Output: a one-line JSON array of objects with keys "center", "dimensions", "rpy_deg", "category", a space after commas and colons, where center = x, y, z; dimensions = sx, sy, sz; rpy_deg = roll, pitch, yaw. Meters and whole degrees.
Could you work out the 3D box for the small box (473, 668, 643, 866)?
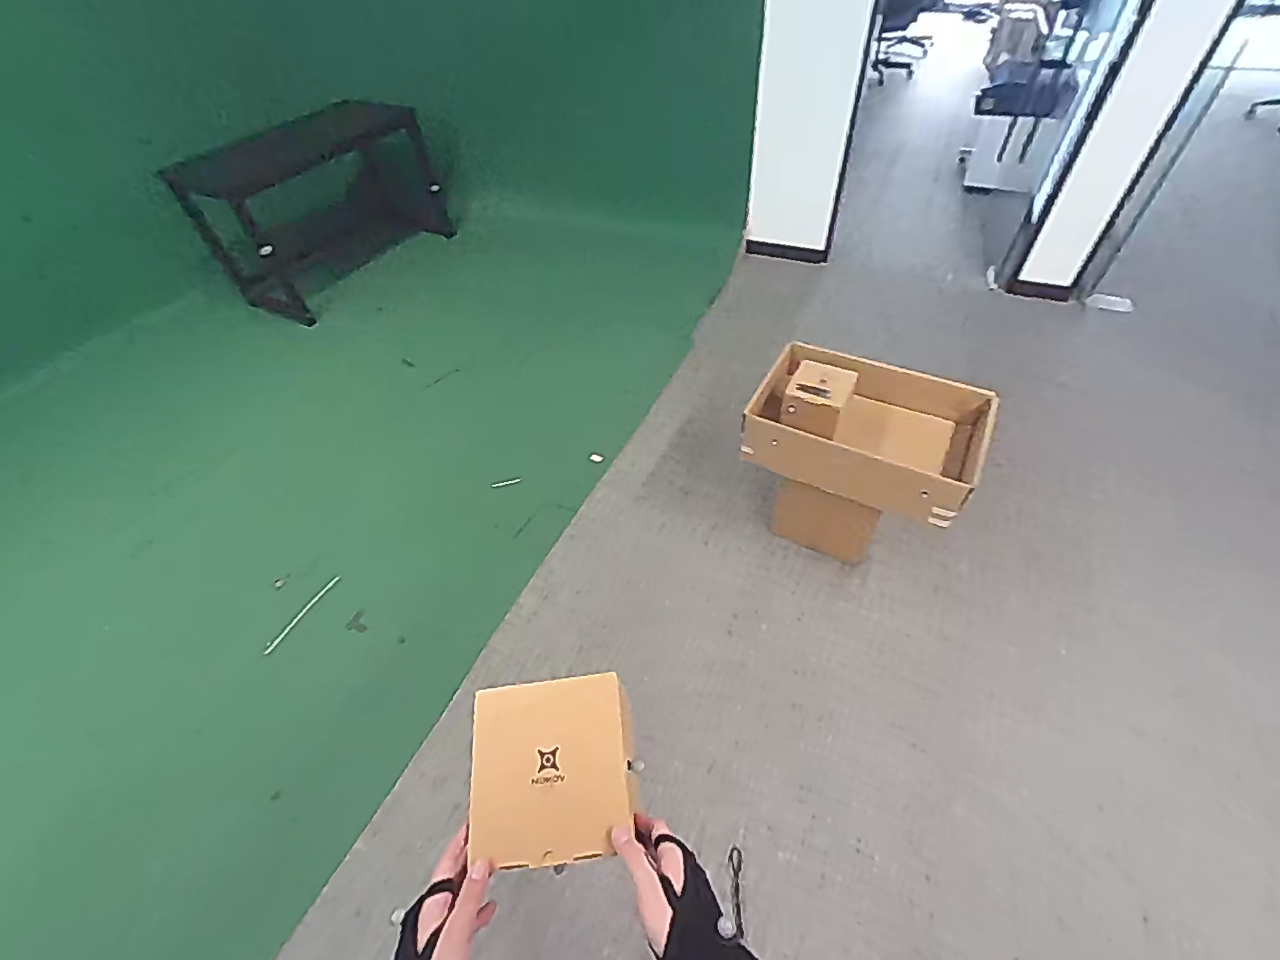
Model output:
[{"center": [-0.087, 0.338, 0.639], "dimensions": [0.168, 0.176, 0.179], "rpy_deg": [-6, 58, -1], "category": "small box"}]
